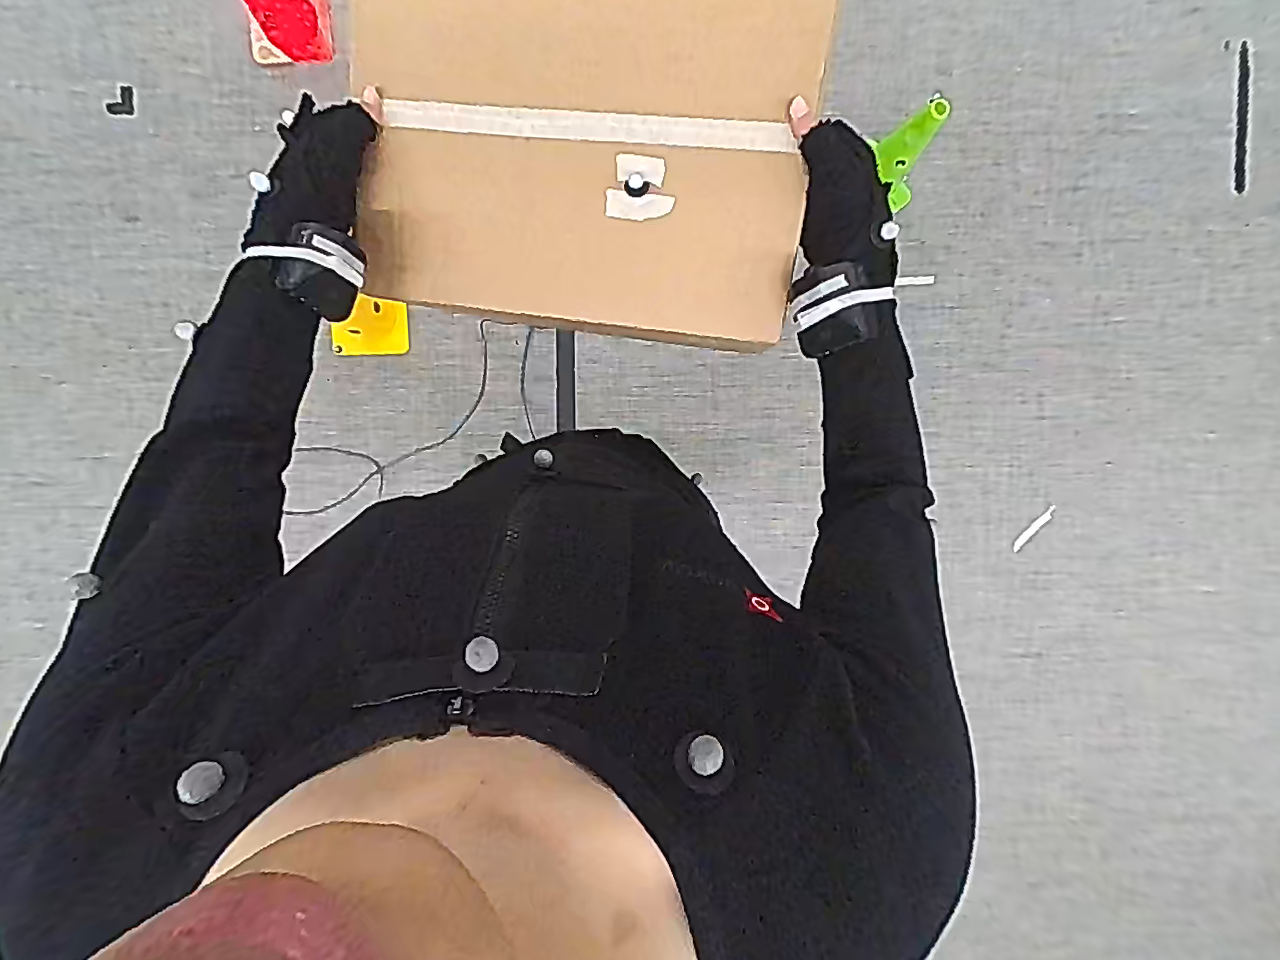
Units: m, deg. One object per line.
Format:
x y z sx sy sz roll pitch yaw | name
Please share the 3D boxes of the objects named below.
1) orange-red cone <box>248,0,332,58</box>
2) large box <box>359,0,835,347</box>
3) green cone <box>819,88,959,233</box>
-0.879 -1.155 1.193 0.198 0.360 0.199 -3 96 -1 | orange-red cone
-0.035 -0.334 0.607 0.408 0.320 0.320 9 103 7 | large box
0.609 -0.773 1.262 0.202 0.368 0.200 -38 95 0 | green cone
